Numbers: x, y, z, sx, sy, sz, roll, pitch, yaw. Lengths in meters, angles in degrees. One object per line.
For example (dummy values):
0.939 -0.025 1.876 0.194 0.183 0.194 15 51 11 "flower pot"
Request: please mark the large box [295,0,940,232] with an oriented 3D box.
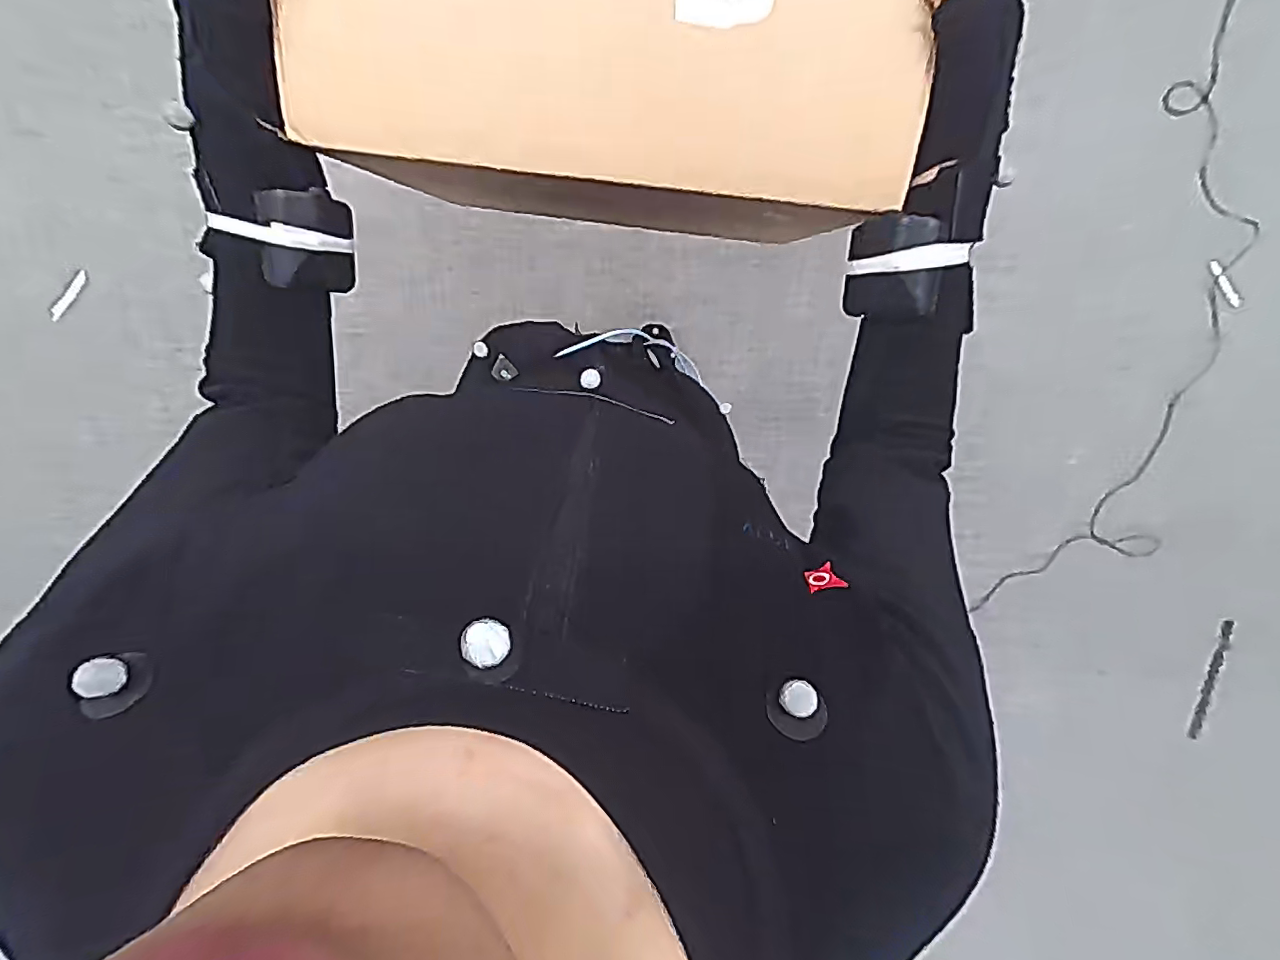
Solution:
-0.009 -0.404 0.451 0.408 0.320 0.320 6 111 -2 "large box"
